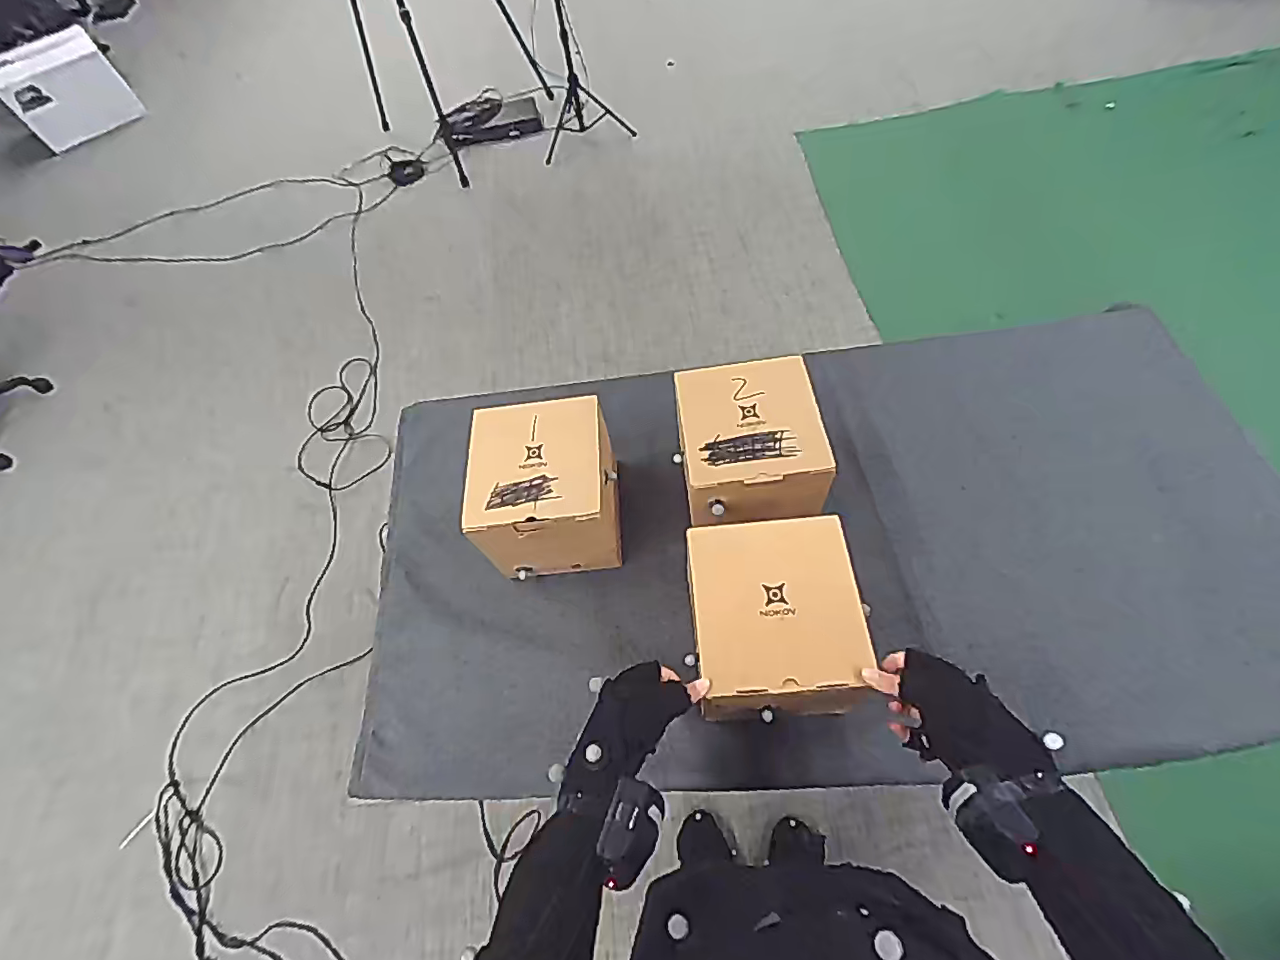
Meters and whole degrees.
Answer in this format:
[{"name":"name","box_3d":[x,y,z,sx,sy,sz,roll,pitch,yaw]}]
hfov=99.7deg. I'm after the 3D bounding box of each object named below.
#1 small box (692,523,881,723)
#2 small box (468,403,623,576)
[{"name":"small box","box_3d":[0.148,0.168,0.615,0.168,0.176,0.179,-6,59,4]},{"name":"small box","box_3d":[-0.117,0.023,0.734,0.168,0.176,0.179,-6,59,4]}]
